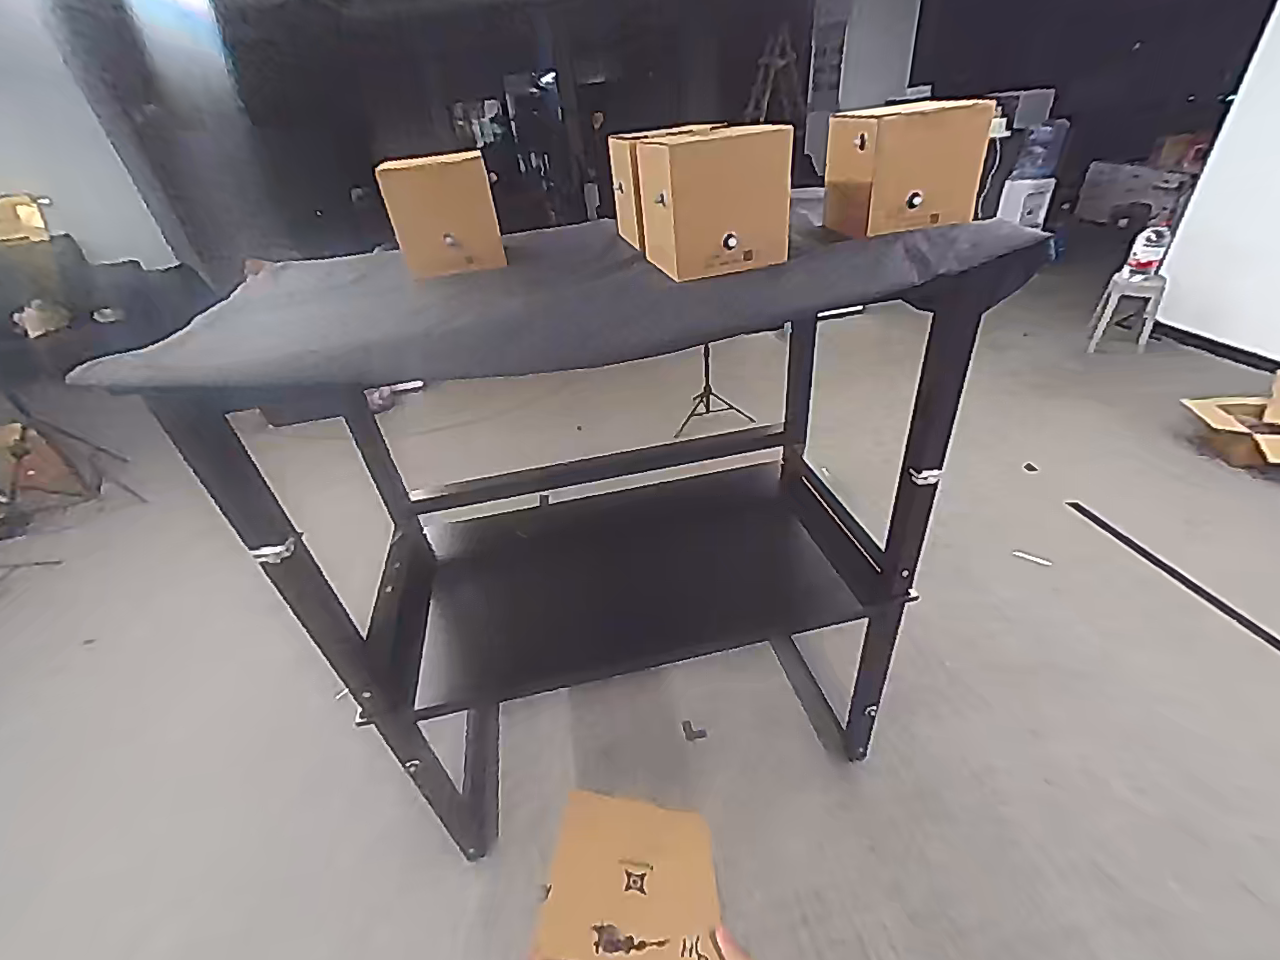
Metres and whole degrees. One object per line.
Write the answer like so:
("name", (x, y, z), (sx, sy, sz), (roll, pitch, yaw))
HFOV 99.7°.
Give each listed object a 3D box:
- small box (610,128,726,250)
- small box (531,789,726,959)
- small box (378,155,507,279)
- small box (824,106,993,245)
("small box", (0.050, -0.518, 0.968), (0.168, 0.176, 0.179), (-12, 34, -8))
("small box", (-0.020, 0.466, 0.553), (0.168, 0.176, 0.179), (13, 13, -2))
("small box", (-0.338, -0.467, 0.957), (0.168, 0.176, 0.179), (-13, 36, -9))
("small box", (0.403, -0.478, 0.851), (0.168, 0.176, 0.179), (-9, 35, -2))
